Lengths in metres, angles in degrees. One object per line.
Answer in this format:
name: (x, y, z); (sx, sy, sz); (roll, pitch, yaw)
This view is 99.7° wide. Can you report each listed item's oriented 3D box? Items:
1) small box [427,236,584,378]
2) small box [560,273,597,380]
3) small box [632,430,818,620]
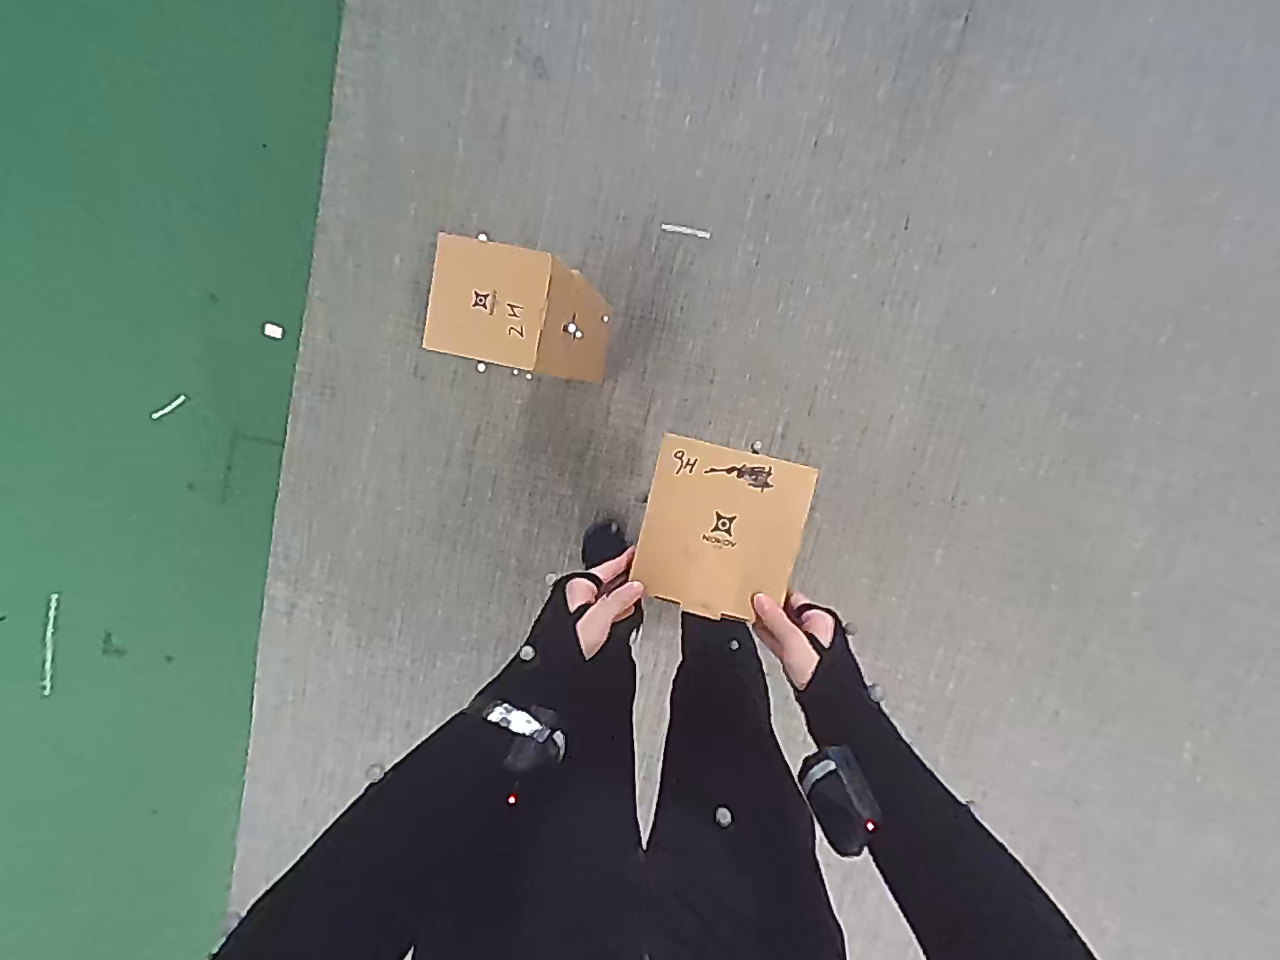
small box: (-0.203, -0.260, 0.852); (0.179, 0.176, 0.168); (13, 98, 5)
small box: (-0.185, -0.290, 1.014); (0.168, 0.176, 0.179); (12, 97, 5)
small box: (0.095, 0.042, 0.654); (0.168, 0.176, 0.179); (13, 96, 2)
